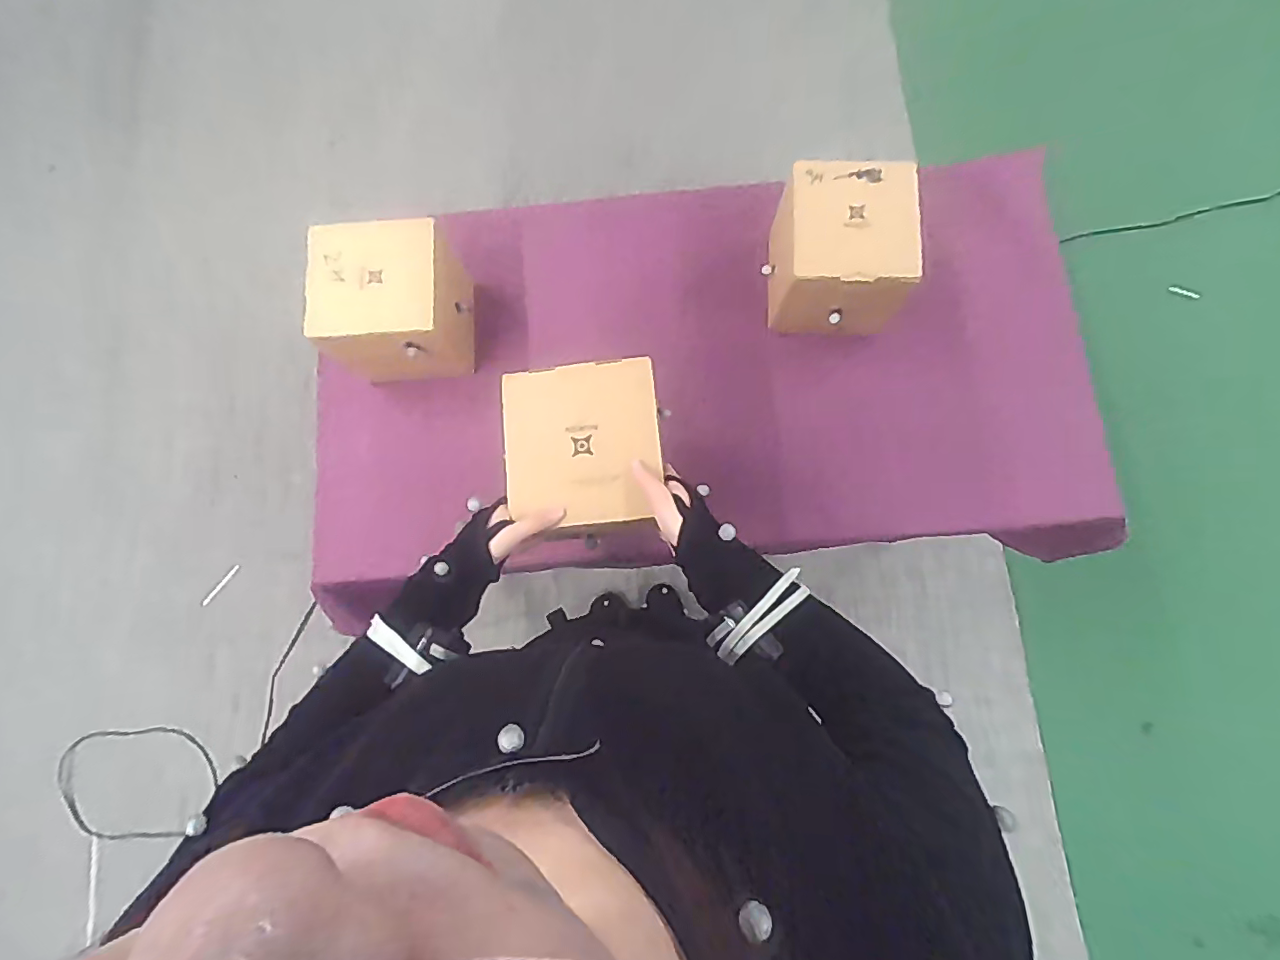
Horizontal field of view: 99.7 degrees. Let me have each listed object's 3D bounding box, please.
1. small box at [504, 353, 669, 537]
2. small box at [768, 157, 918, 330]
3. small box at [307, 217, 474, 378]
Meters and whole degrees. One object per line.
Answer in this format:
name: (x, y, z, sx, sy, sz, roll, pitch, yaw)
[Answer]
small box: (-0.055, -0.031, 0.643, 0.168, 0.176, 0.179, -6, 80, 4)
small box: (0.285, -0.333, 0.789, 0.168, 0.176, 0.179, 3, 81, 3)
small box: (-0.355, -0.261, 0.804, 0.179, 0.176, 0.168, -3, 79, 2)
